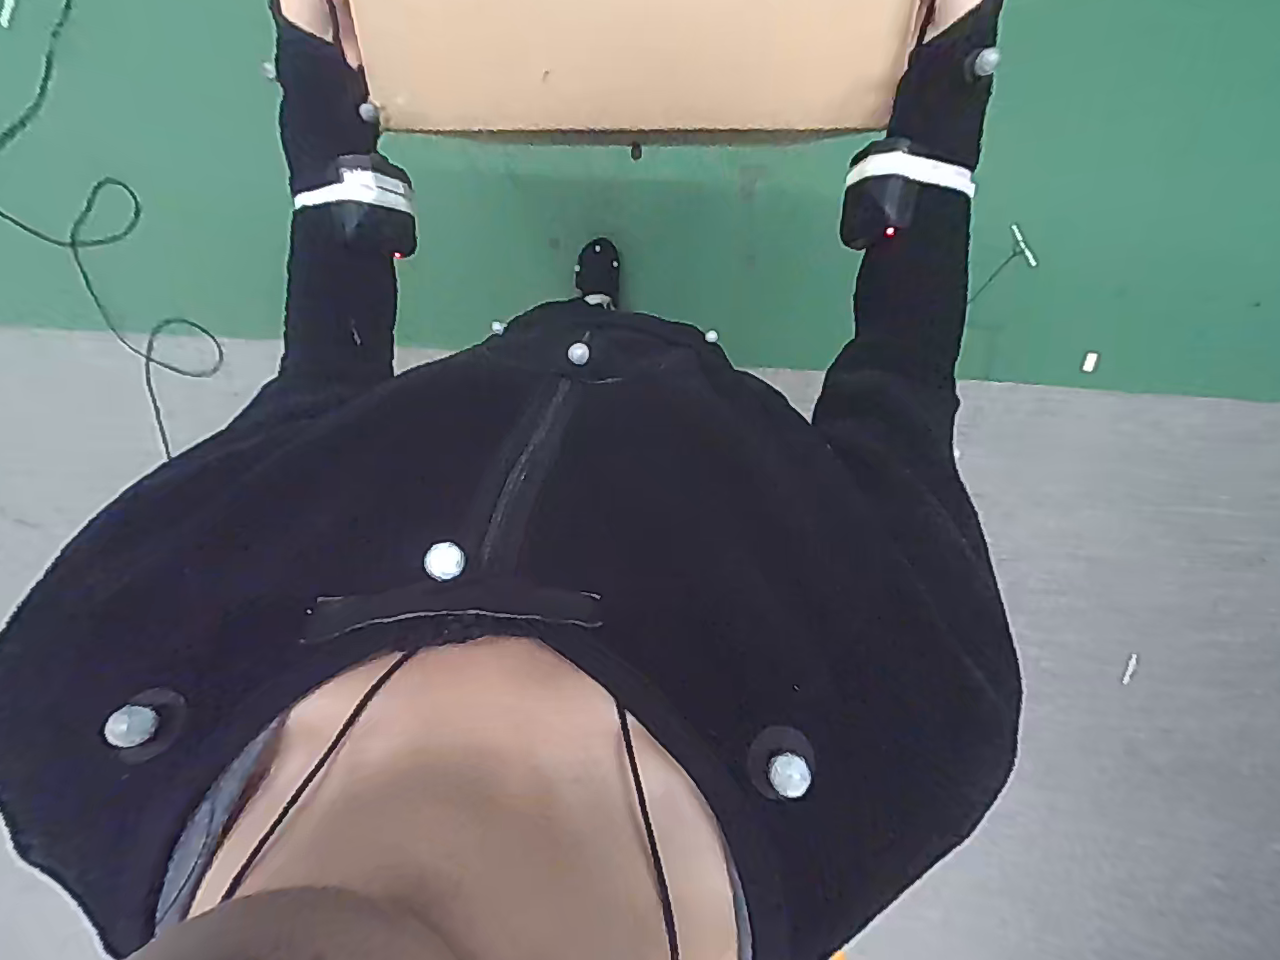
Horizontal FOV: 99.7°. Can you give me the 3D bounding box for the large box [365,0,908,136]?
[{"bbox_3d":[-0.001,-0.494,0.481,0.408,0.320,0.320,0,120,1],"label":"large box"}]
